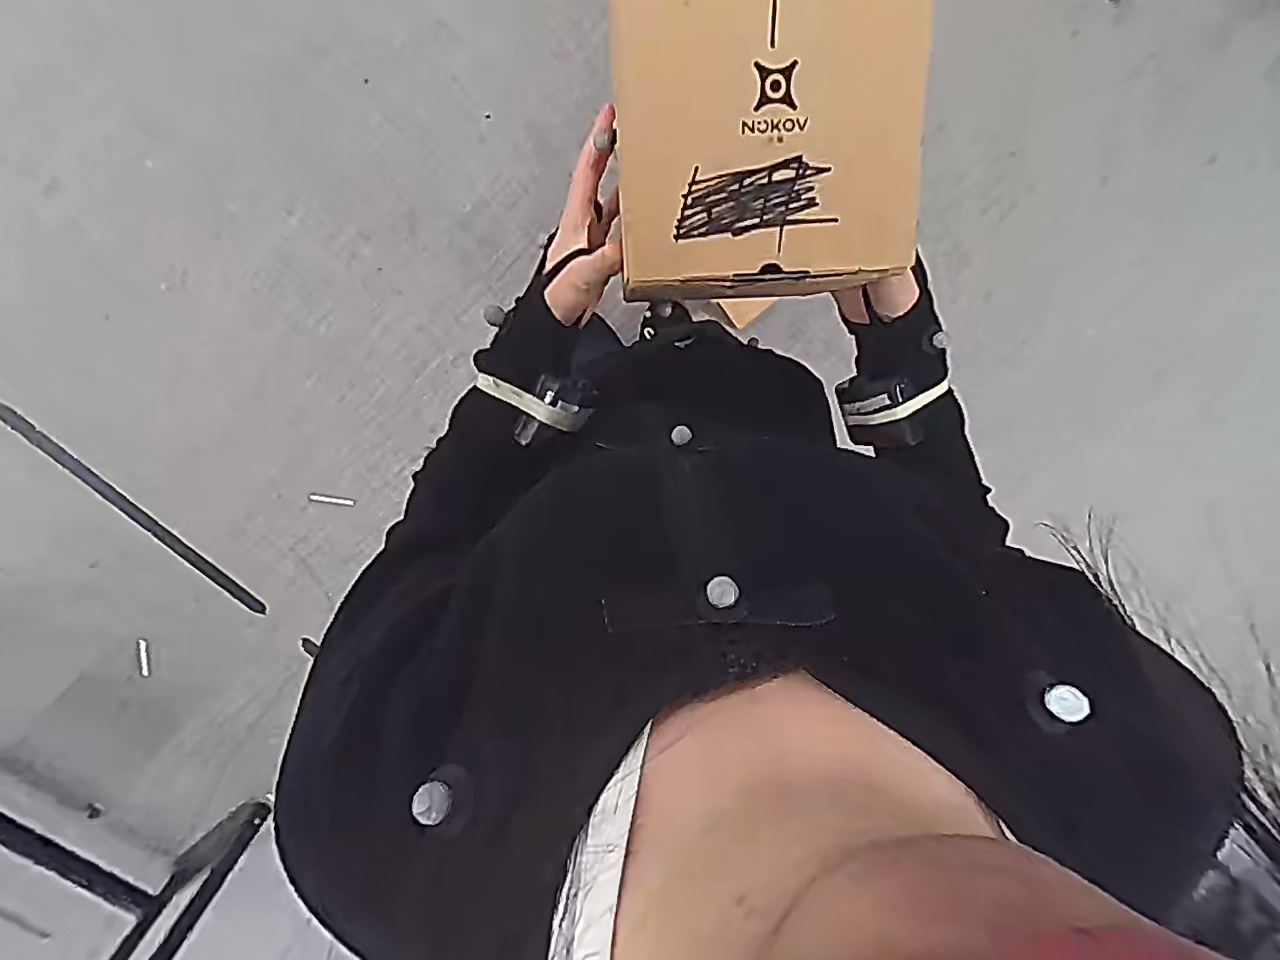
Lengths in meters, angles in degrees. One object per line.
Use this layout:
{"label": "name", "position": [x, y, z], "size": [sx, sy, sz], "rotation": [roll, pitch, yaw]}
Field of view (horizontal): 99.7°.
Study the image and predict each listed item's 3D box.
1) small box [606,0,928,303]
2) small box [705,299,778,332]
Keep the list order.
{"label": "small box", "position": [0.065, -0.215, 0.364], "size": [0.168, 0.176, 0.179], "rotation": [-4, 104, -2]}
{"label": "small box", "position": [0.179, -0.387, 0.960], "size": [0.179, 0.176, 0.168], "rotation": [-37, 107, 12]}
